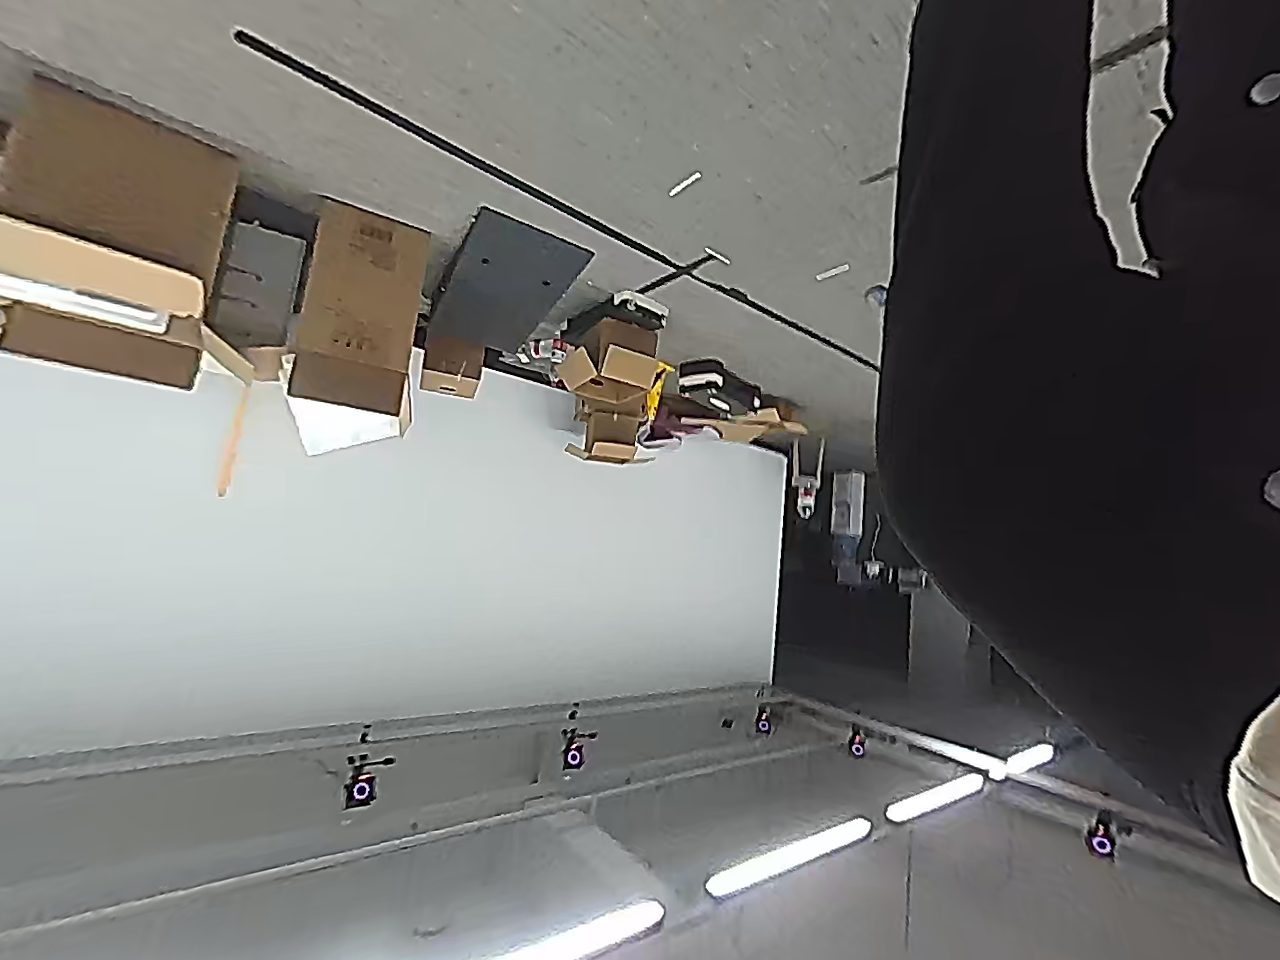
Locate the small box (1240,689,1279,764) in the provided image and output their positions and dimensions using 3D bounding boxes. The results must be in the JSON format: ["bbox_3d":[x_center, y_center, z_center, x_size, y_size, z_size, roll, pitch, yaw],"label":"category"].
[{"bbox_3d":[1.832,0.704,1.532,0.179,0.176,0.168,7,173,-40],"label":"small box"}]
